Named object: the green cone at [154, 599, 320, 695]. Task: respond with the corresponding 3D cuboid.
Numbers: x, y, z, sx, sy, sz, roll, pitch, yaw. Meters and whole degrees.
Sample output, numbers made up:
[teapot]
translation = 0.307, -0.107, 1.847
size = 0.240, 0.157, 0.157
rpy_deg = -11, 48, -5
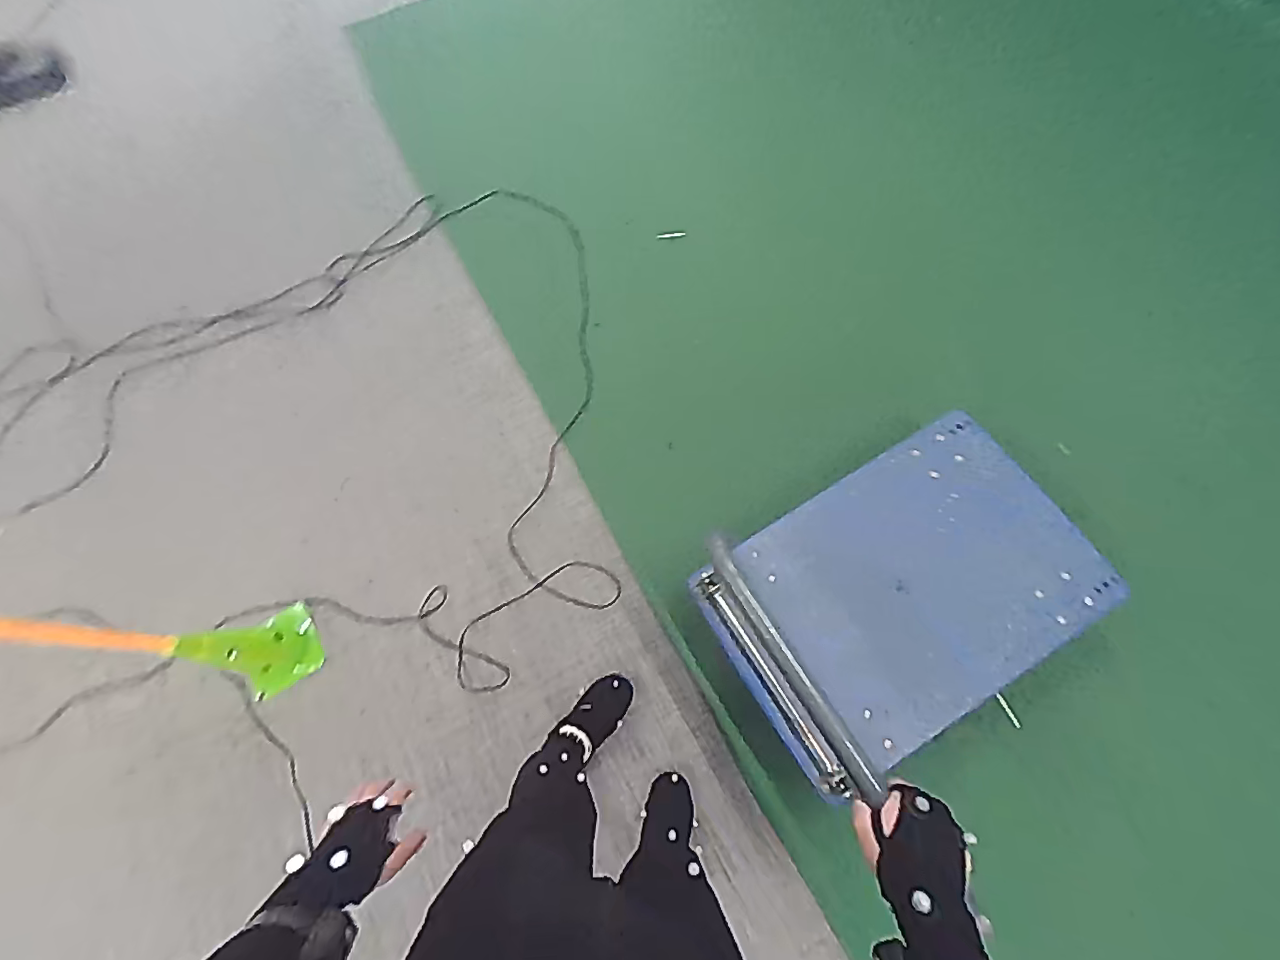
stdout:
[green cone]
translation = -1.009, 0.398, 1.330
size = 0.200, 0.368, 0.202
rpy_deg = -32, 70, -7
